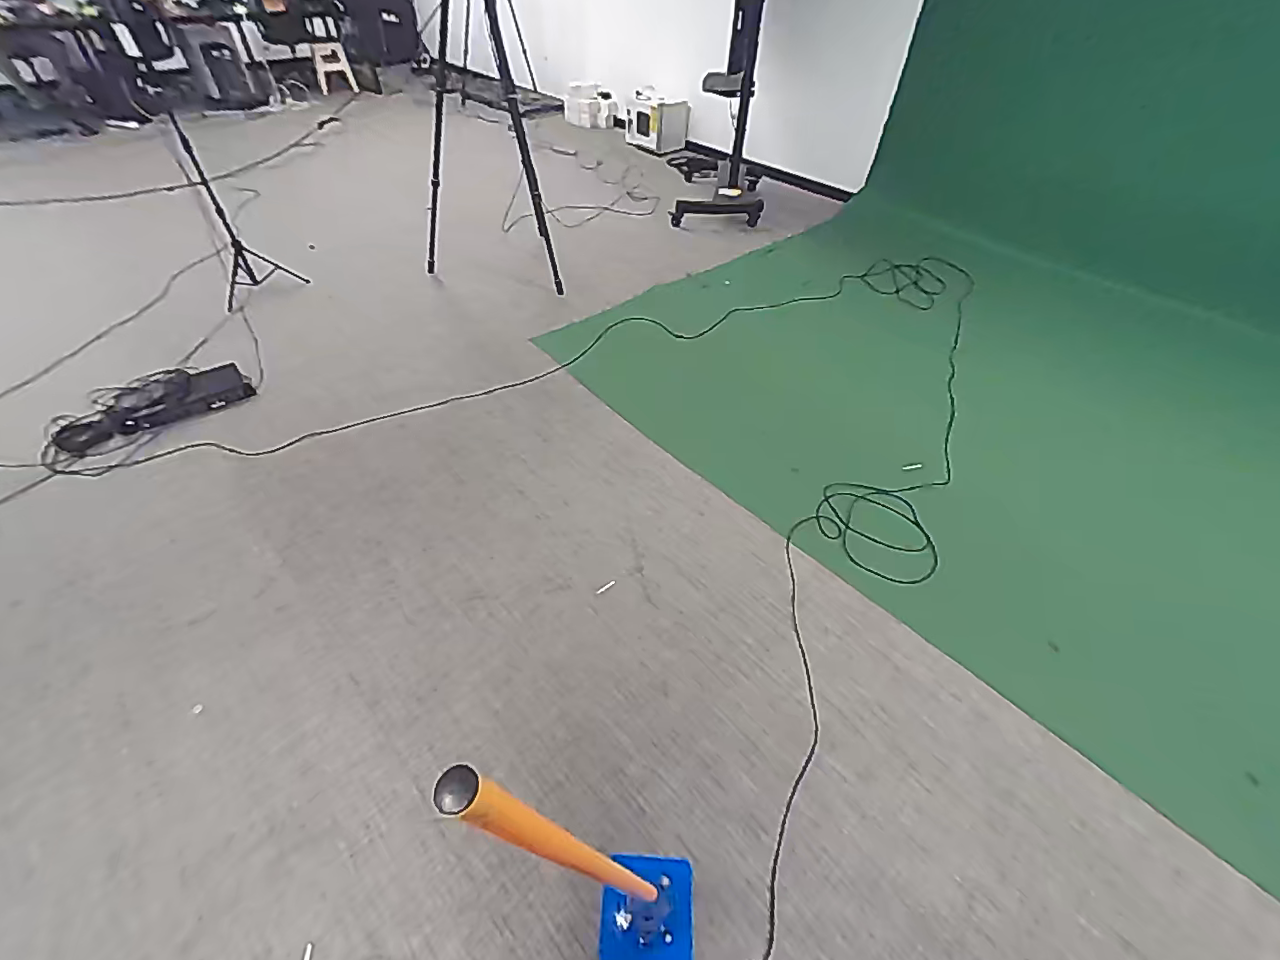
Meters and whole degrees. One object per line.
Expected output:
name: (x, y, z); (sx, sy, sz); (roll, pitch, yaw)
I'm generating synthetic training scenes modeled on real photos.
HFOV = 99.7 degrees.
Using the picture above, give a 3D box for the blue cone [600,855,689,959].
blue cone: (0.009, 0.818, 1.049); (0.193, 0.380, 0.192); (1, 48, 2)
